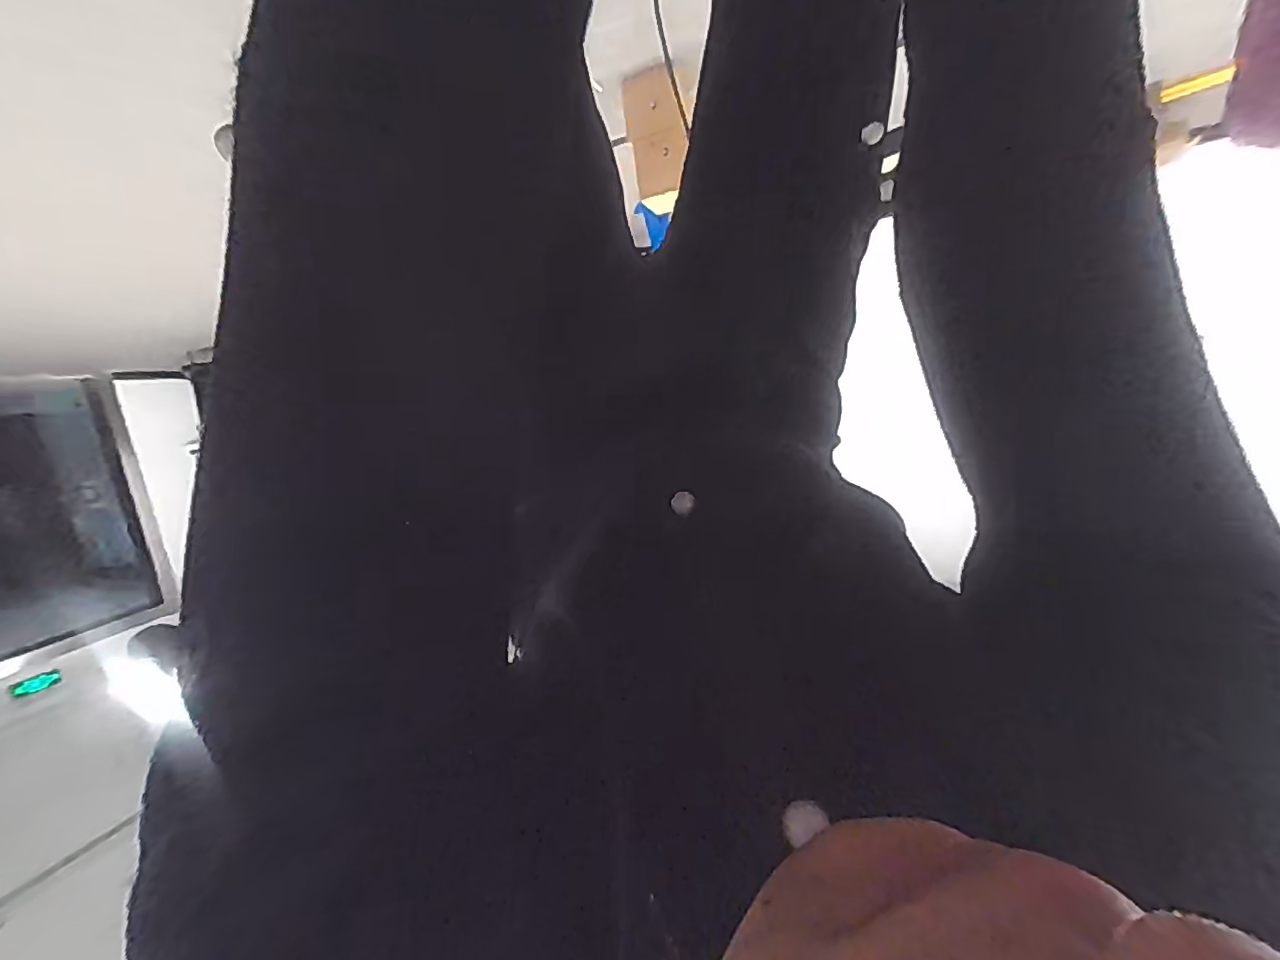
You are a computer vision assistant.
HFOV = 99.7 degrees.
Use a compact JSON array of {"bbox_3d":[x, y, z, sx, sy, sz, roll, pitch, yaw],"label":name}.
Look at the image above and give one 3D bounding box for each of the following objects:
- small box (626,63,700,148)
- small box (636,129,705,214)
[{"bbox_3d":[0.069,-1.098,1.622,0.179,0.176,0.168,-4,-169,26],"label":"small box"},{"bbox_3d":[0.098,-0.942,1.659,0.168,0.176,0.179,-4,-170,21],"label":"small box"}]
